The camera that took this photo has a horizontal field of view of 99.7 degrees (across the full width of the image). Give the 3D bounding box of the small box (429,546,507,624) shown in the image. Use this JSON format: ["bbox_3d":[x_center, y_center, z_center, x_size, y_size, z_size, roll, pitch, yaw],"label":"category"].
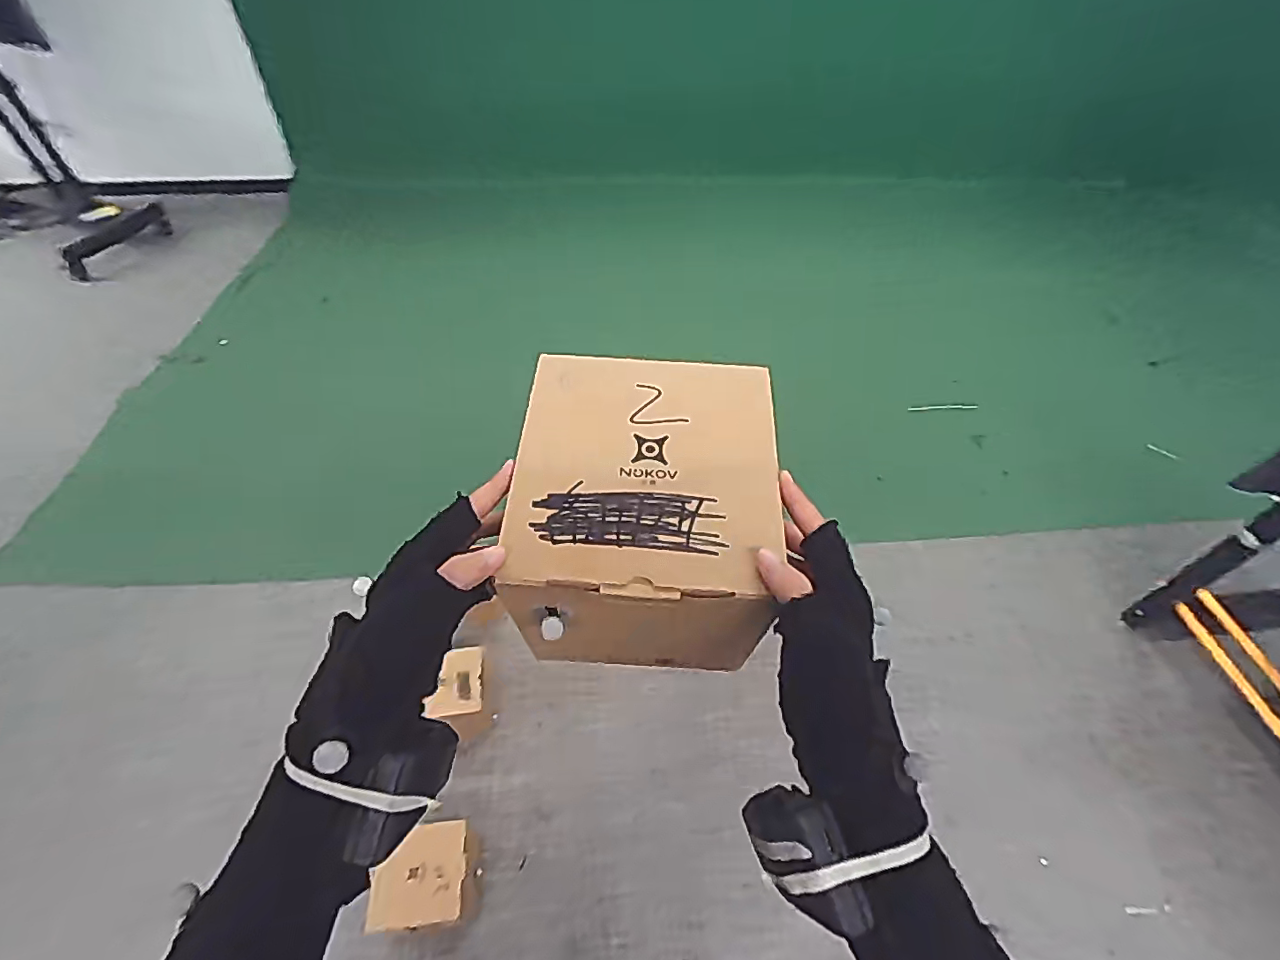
[{"bbox_3d":[-0.499,0.312,1.591,0.179,0.176,0.168,-2,48,-4],"label":"small box"}]

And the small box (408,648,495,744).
[{"bbox_3d":[-0.468,0.550,1.373,0.179,0.176,0.168,-7,48,-7],"label":"small box"}]

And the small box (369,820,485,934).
[{"bbox_3d":[-0.431,0.825,1.121,0.179,0.176,0.168,-4,50,-7],"label":"small box"}]
